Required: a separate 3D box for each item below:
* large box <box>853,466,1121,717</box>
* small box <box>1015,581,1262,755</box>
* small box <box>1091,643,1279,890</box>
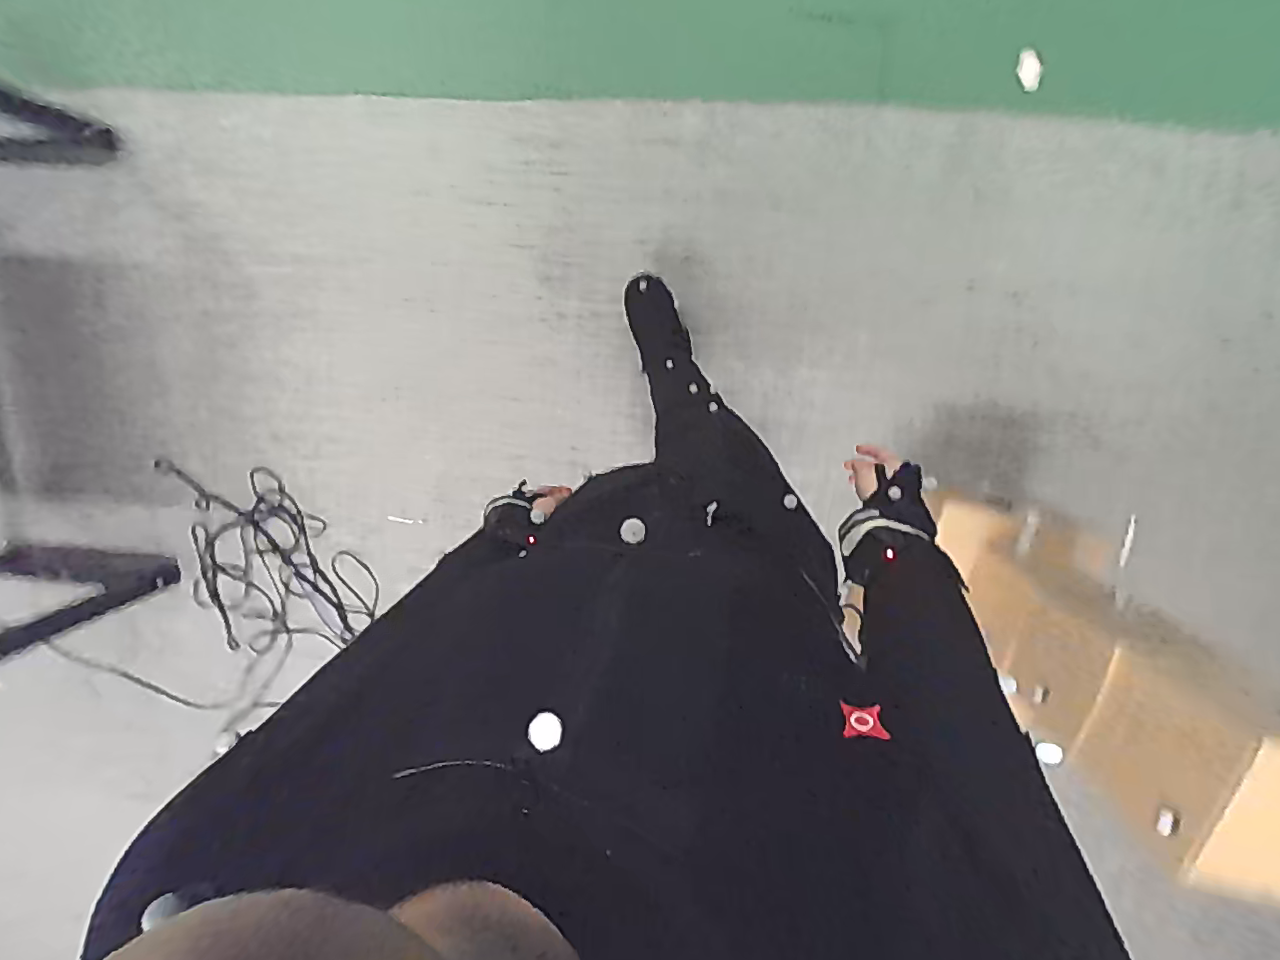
[{"bbox_3d":[0.692,0.211,1.155,0.320,0.320,0.408,11,105,5],"label":"large box"},{"bbox_3d":[0.664,0.263,0.750,0.168,0.176,0.179,7,103,4],"label":"small box"},{"bbox_3d":[0.656,0.306,0.593,0.168,0.176,0.179,10,105,3],"label":"small box"}]
